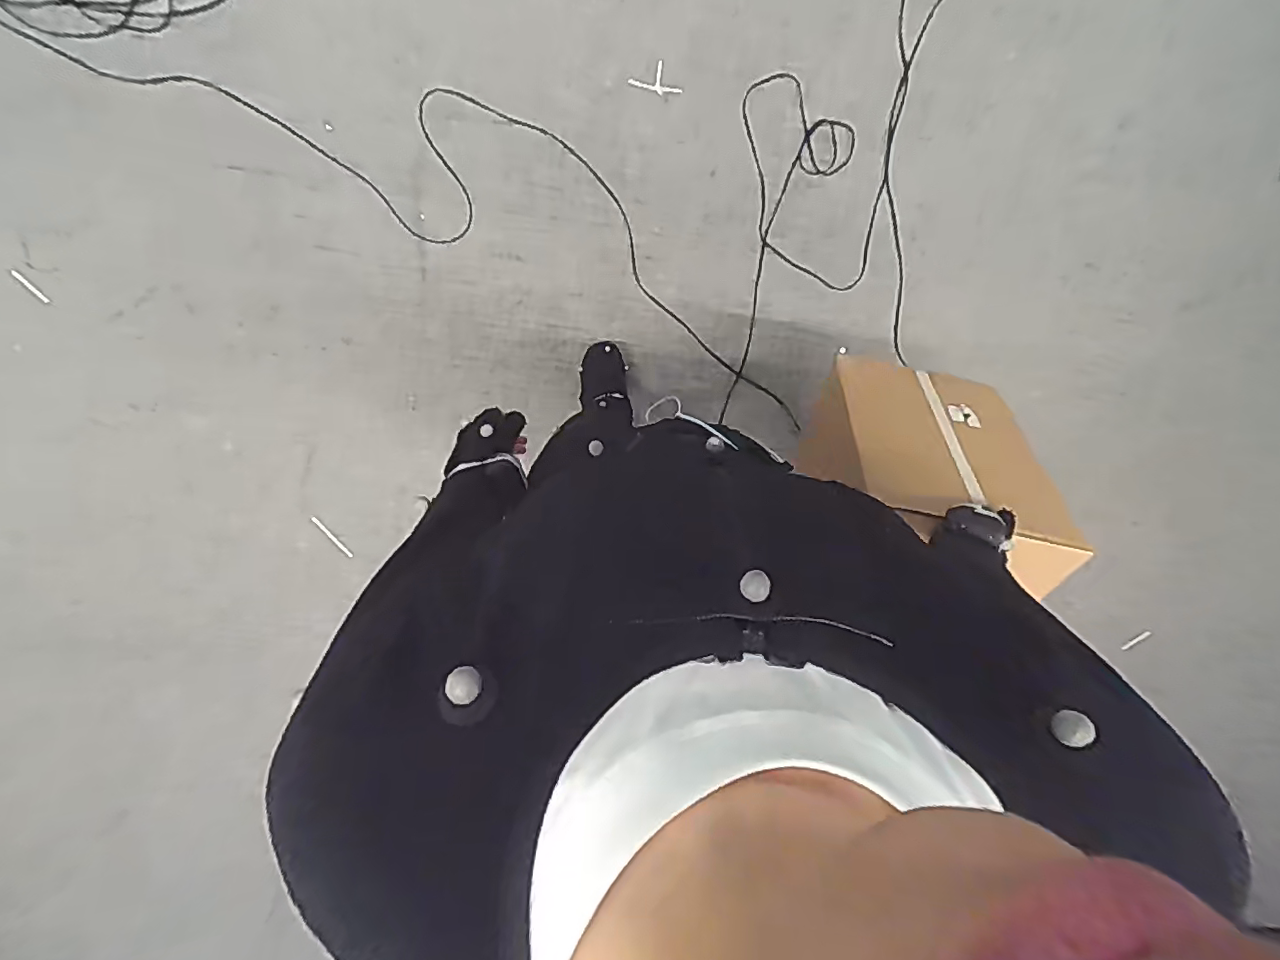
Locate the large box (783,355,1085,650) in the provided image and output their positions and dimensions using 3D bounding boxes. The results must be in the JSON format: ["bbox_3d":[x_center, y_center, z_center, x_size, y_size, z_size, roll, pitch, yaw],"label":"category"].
[{"bbox_3d":[0.462,0.034,0.975,0.320,0.408,0.320,13,134,0],"label":"large box"}]
